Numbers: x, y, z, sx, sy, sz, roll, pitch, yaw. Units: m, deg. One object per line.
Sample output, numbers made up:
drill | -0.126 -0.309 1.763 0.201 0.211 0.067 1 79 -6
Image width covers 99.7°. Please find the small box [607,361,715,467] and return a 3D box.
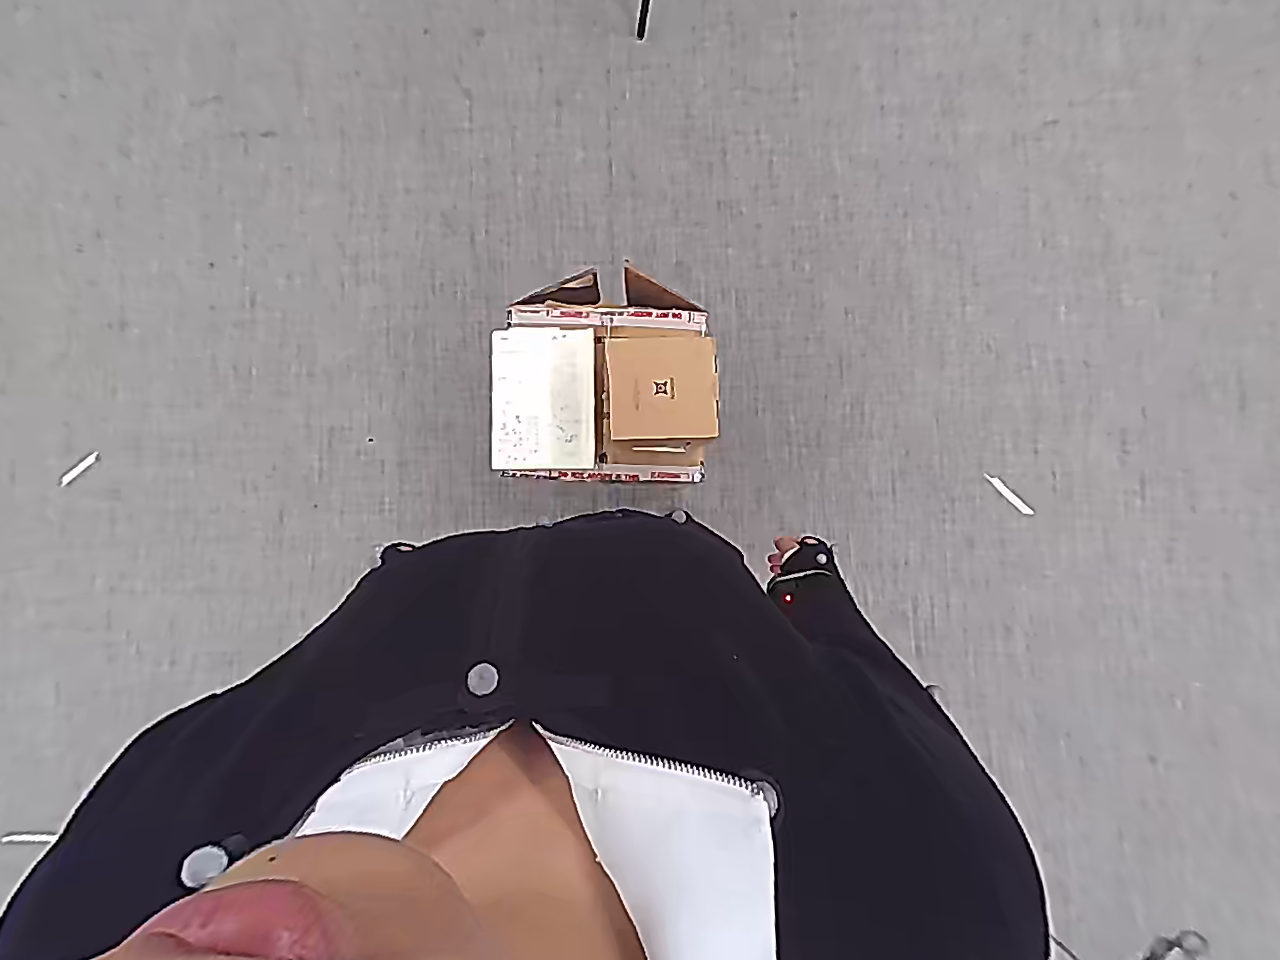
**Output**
small box | 0.032 -0.111 0.960 0.179 0.176 0.168 -2 88 -1
